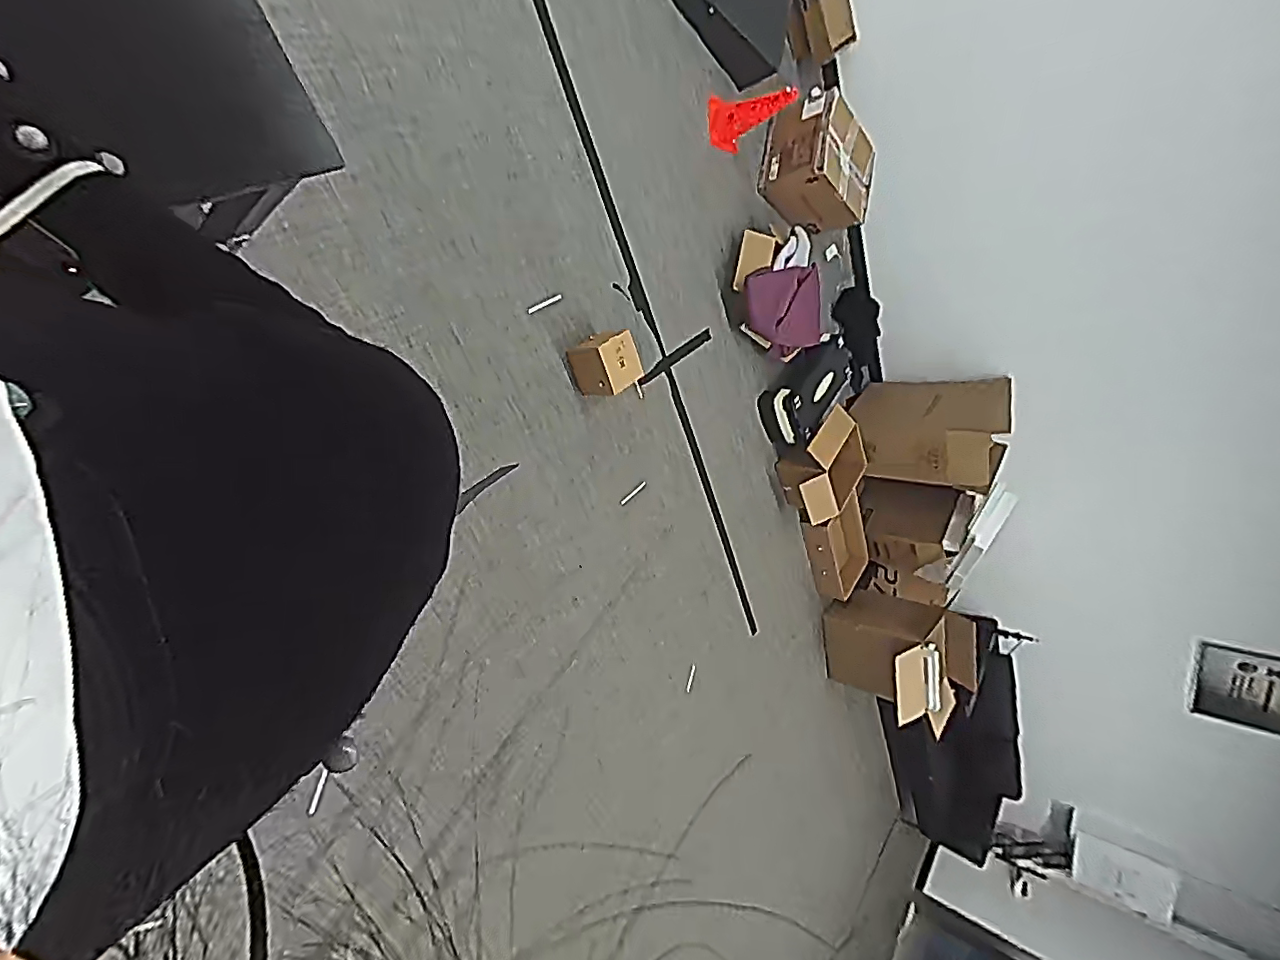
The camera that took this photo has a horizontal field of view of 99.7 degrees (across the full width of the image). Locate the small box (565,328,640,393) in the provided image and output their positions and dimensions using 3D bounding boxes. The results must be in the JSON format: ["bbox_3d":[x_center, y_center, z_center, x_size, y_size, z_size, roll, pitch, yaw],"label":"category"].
[{"bbox_3d":[-0.132,-0.417,1.903,0.168,0.176,0.179,-41,122,-35],"label":"small box"}]
